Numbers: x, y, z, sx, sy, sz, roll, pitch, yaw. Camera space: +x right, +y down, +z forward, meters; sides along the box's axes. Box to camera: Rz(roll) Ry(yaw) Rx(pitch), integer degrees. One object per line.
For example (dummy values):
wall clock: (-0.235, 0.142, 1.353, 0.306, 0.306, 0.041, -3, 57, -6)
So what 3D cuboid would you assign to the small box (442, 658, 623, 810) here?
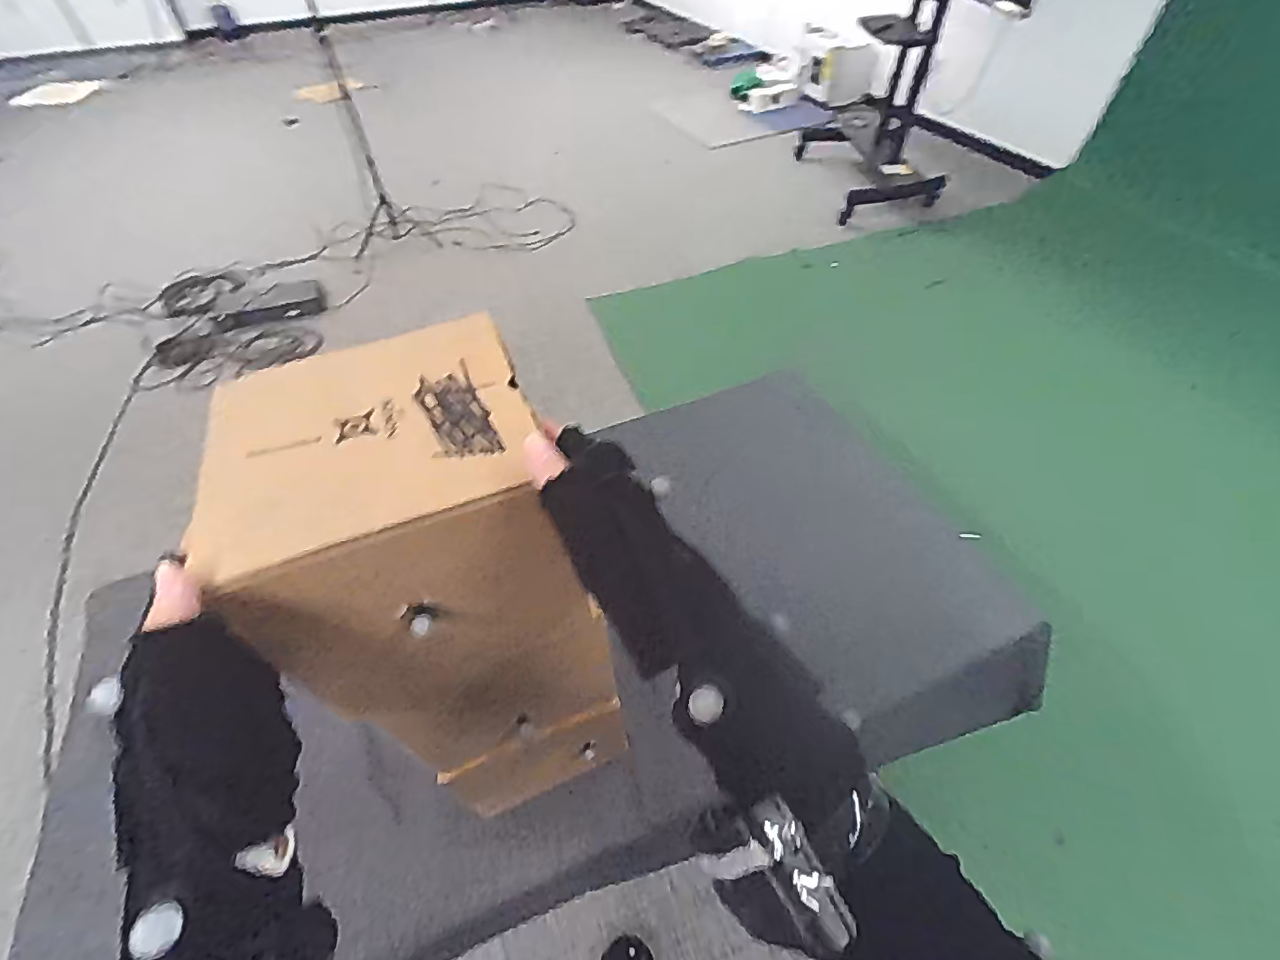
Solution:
small box: (-0.125, 0.241, 0.616, 0.179, 0.176, 0.168, -21, 51, -13)

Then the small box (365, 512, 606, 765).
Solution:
small box: (-0.136, 0.129, 0.498, 0.179, 0.176, 0.168, -19, 50, -14)

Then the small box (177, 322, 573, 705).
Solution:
small box: (-0.150, 0.022, 0.369, 0.179, 0.176, 0.168, -17, 48, -11)
